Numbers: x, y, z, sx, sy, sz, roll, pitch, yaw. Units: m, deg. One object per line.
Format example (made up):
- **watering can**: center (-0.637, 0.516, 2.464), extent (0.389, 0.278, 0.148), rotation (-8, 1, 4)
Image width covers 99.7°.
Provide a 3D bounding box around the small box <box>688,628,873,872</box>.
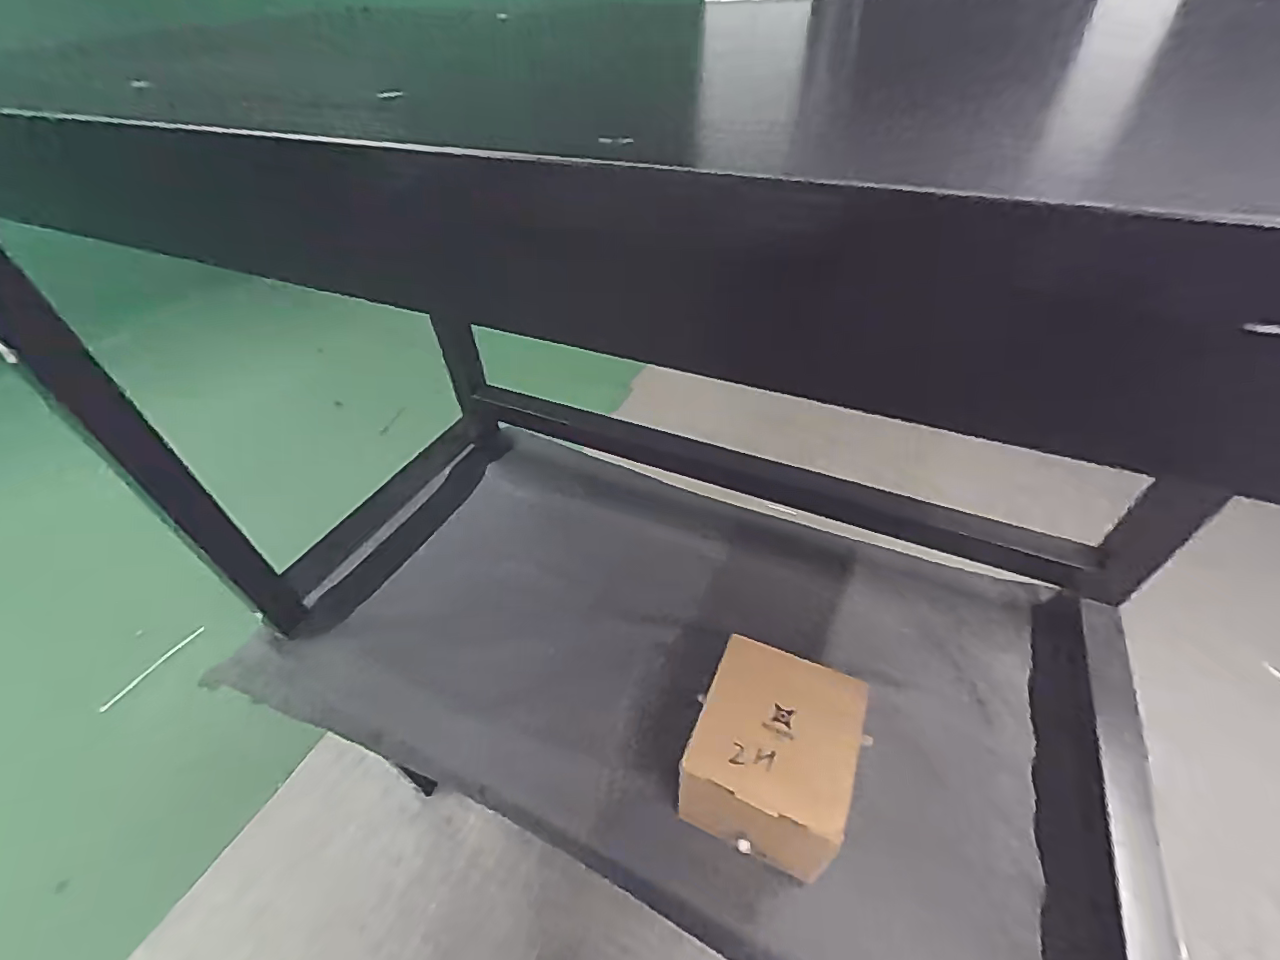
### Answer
- **small box**: center (0.160, 0.317, 0.643), extent (0.168, 0.176, 0.179), rotation (16, 45, 21)
